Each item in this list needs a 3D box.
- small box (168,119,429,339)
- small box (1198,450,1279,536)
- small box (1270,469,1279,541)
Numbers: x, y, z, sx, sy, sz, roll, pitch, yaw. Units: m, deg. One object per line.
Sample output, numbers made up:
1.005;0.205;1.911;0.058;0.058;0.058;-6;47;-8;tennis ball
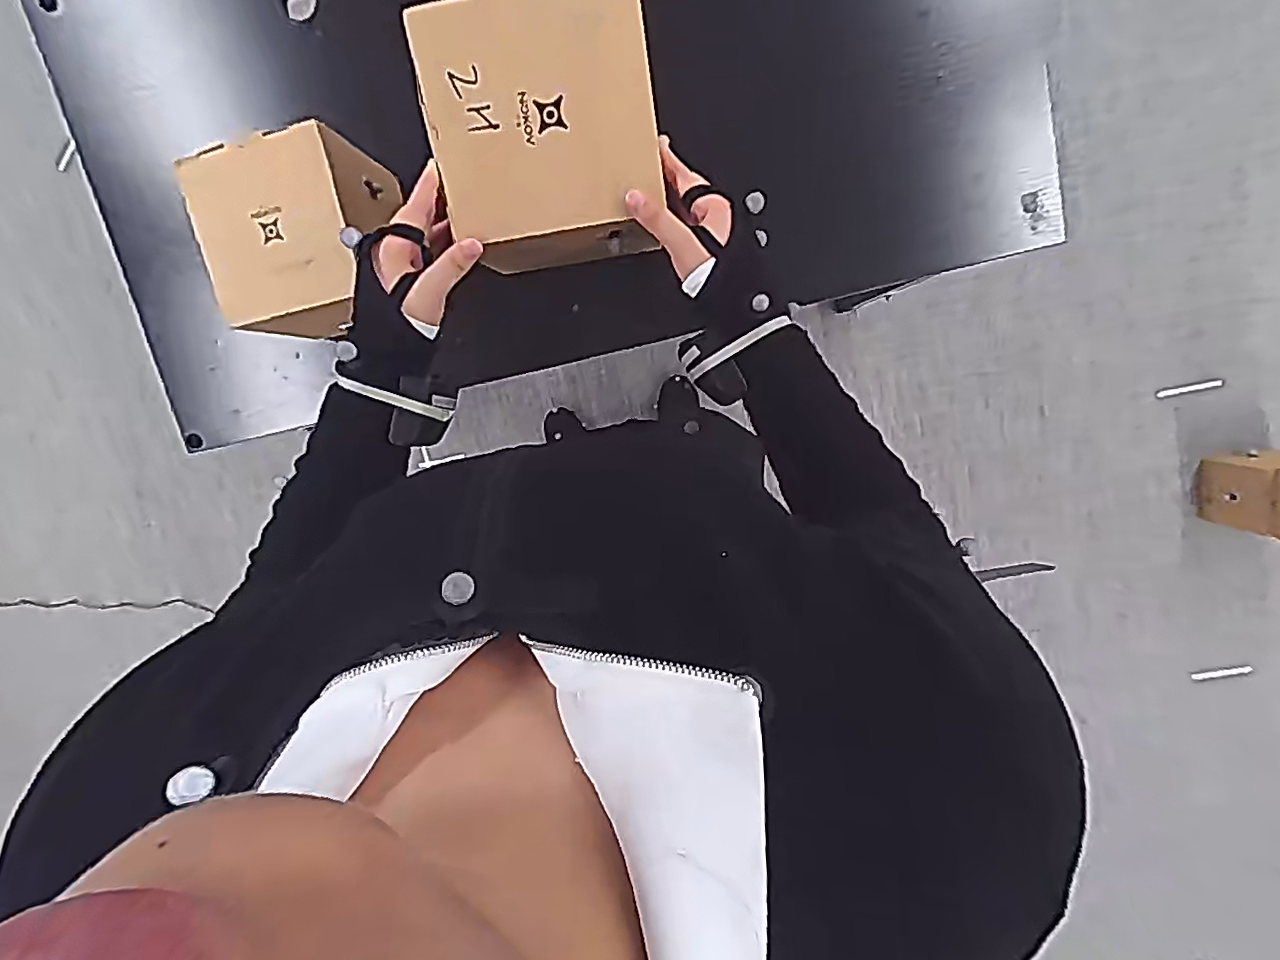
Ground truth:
-0.378;-0.274;0.634;0.168;0.176;0.179;-12;100;6;small box
1.523;0.028;1.317;0.179;0.176;0.168;-9;99;6;small box
1.521;0.058;1.154;0.168;0.176;0.179;-10;100;5;small box
